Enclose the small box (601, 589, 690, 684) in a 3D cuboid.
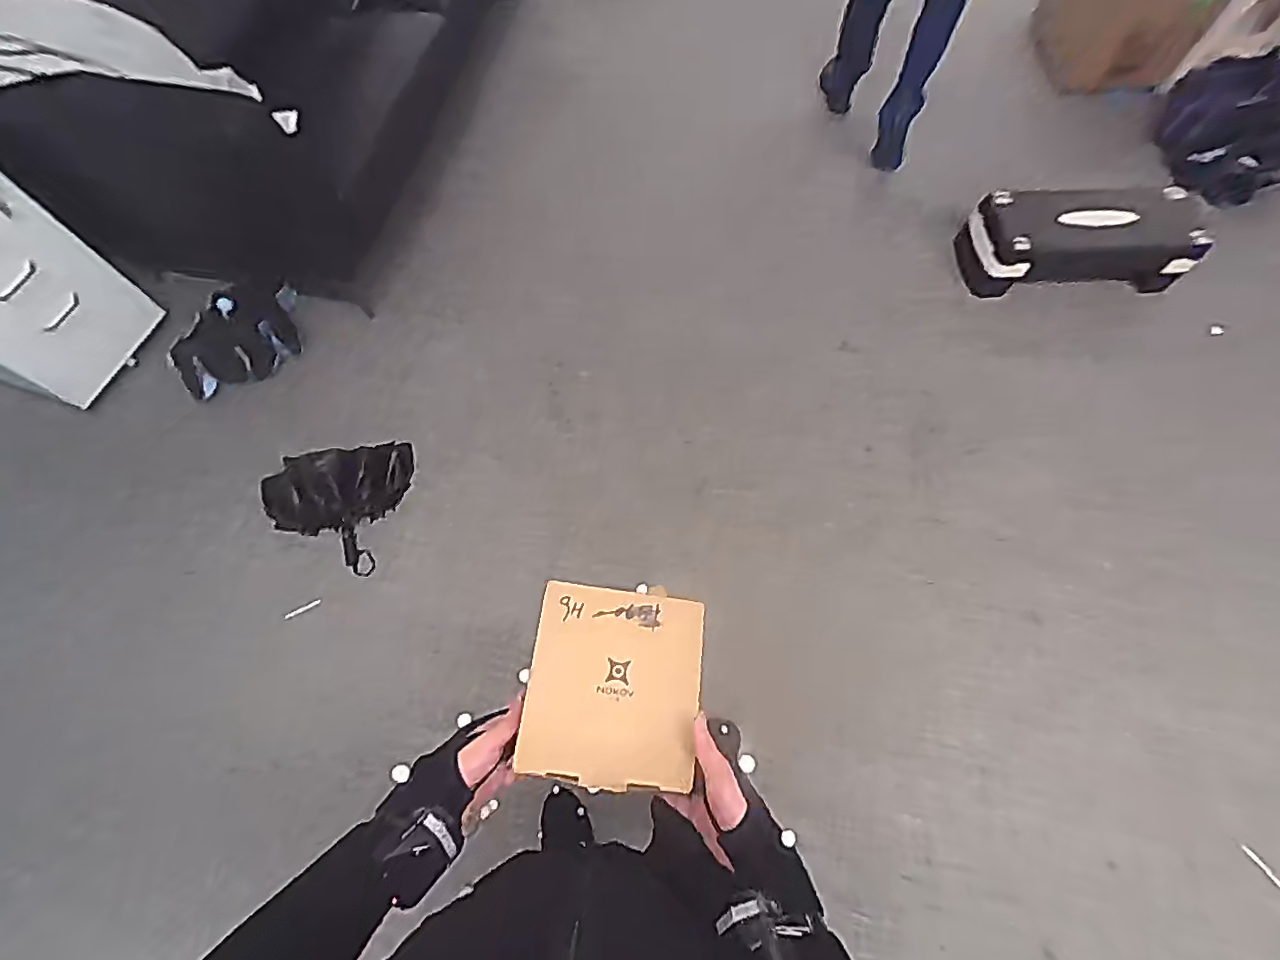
[{"bbox_3d":[0.014,0.403,1.369,0.168,0.176,0.179,-23,66,-10],"label":"small box"}]
